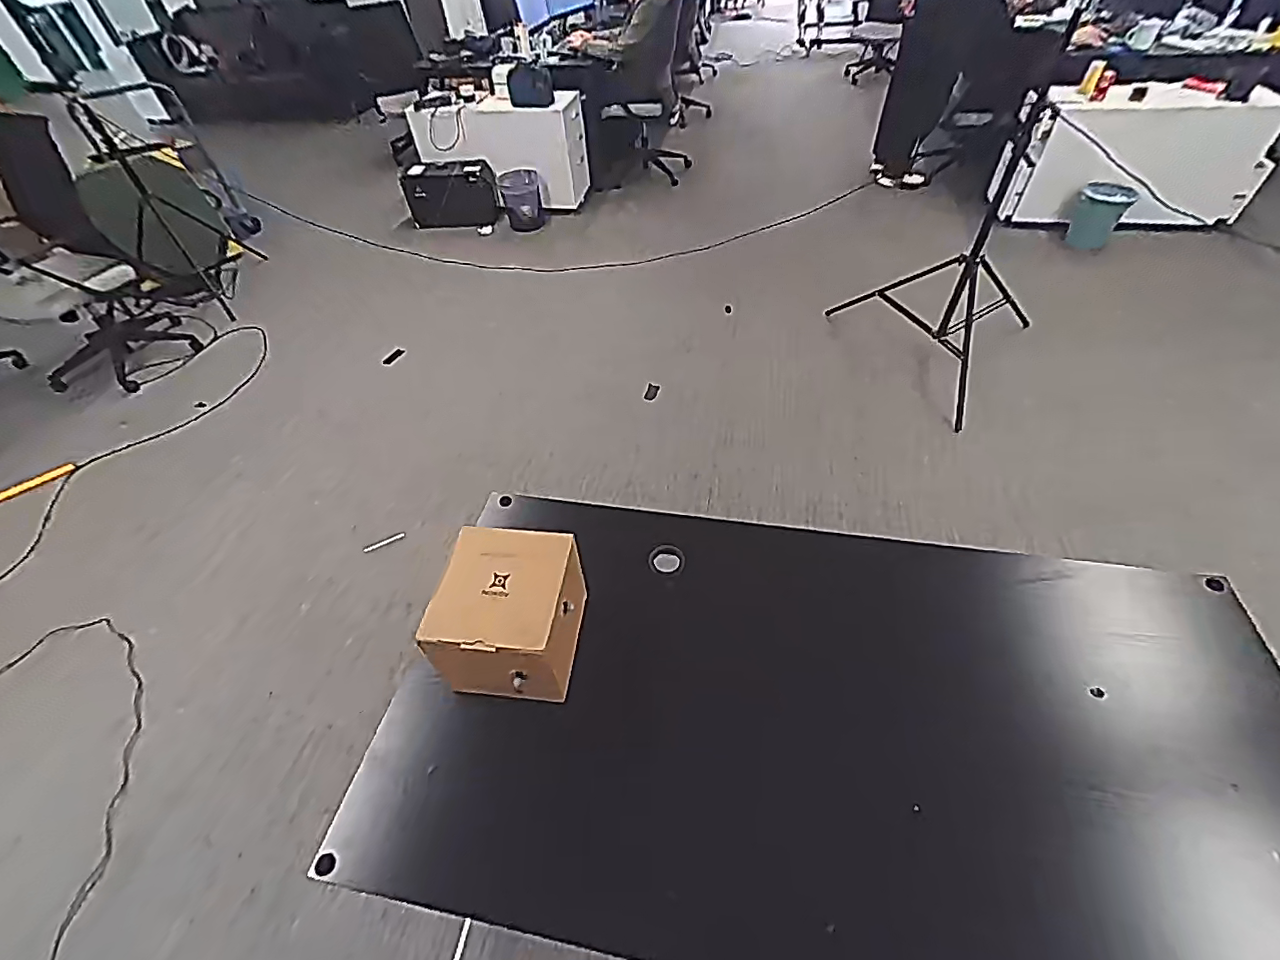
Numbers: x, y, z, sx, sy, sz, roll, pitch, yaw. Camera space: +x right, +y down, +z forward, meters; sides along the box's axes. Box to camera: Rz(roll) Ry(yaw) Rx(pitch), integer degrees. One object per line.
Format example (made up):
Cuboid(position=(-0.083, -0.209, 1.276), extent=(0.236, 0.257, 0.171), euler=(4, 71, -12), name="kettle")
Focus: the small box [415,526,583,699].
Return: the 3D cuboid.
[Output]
Cuboid(position=(-0.179, 0.187, 0.756), extent=(0.168, 0.176, 0.179), euler=(4, 48, 5), name="small box")
